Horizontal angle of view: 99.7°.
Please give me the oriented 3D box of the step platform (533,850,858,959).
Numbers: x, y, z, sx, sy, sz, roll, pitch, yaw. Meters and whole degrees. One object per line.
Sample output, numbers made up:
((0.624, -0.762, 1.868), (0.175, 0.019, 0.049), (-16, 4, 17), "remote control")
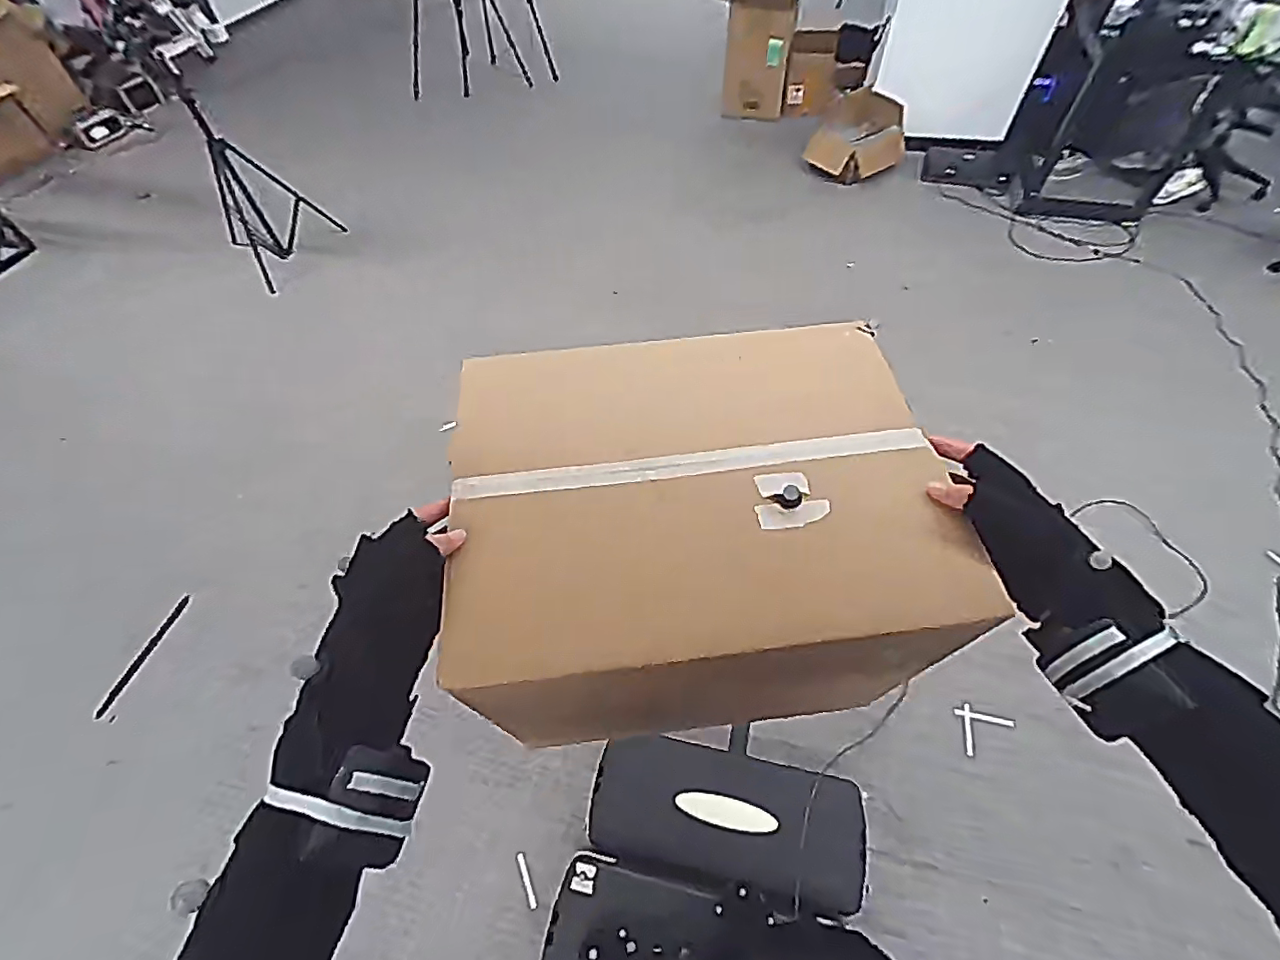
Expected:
((0.114, 1.044, 1.167), (0.684, 0.204, 0.286), (8, 55, 10), "step platform")

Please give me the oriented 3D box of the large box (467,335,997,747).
((0.054, 0.078, 0.594), (0.408, 0.320, 0.320), (-6, 57, -3), "large box")
